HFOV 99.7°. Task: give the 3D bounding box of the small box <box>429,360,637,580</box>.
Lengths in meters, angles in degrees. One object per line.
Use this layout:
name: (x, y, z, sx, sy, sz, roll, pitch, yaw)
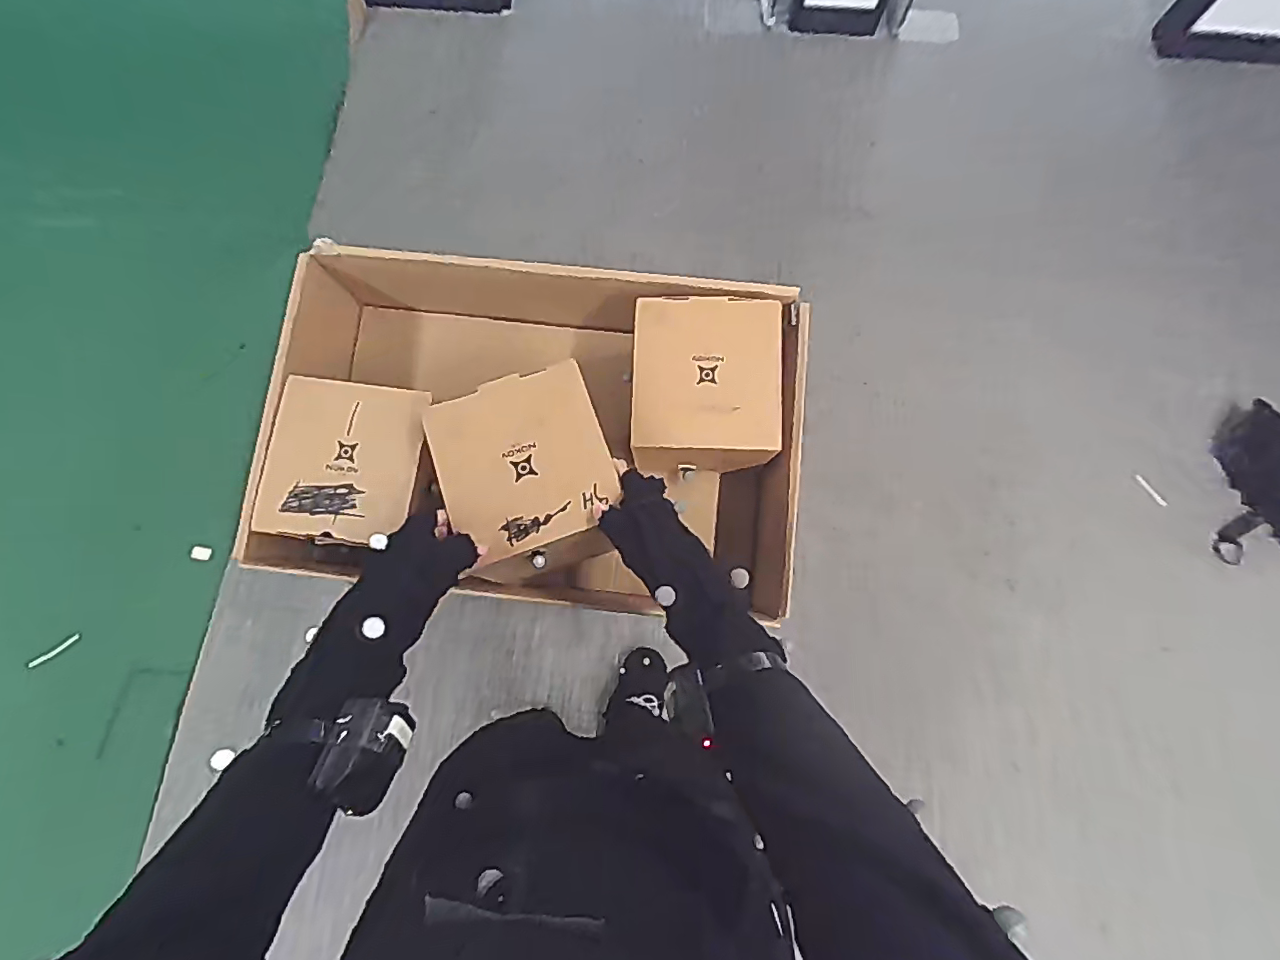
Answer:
small box: (-0.109, 0.000, 0.608, 0.168, 0.176, 0.179, -20, 74, -3)
